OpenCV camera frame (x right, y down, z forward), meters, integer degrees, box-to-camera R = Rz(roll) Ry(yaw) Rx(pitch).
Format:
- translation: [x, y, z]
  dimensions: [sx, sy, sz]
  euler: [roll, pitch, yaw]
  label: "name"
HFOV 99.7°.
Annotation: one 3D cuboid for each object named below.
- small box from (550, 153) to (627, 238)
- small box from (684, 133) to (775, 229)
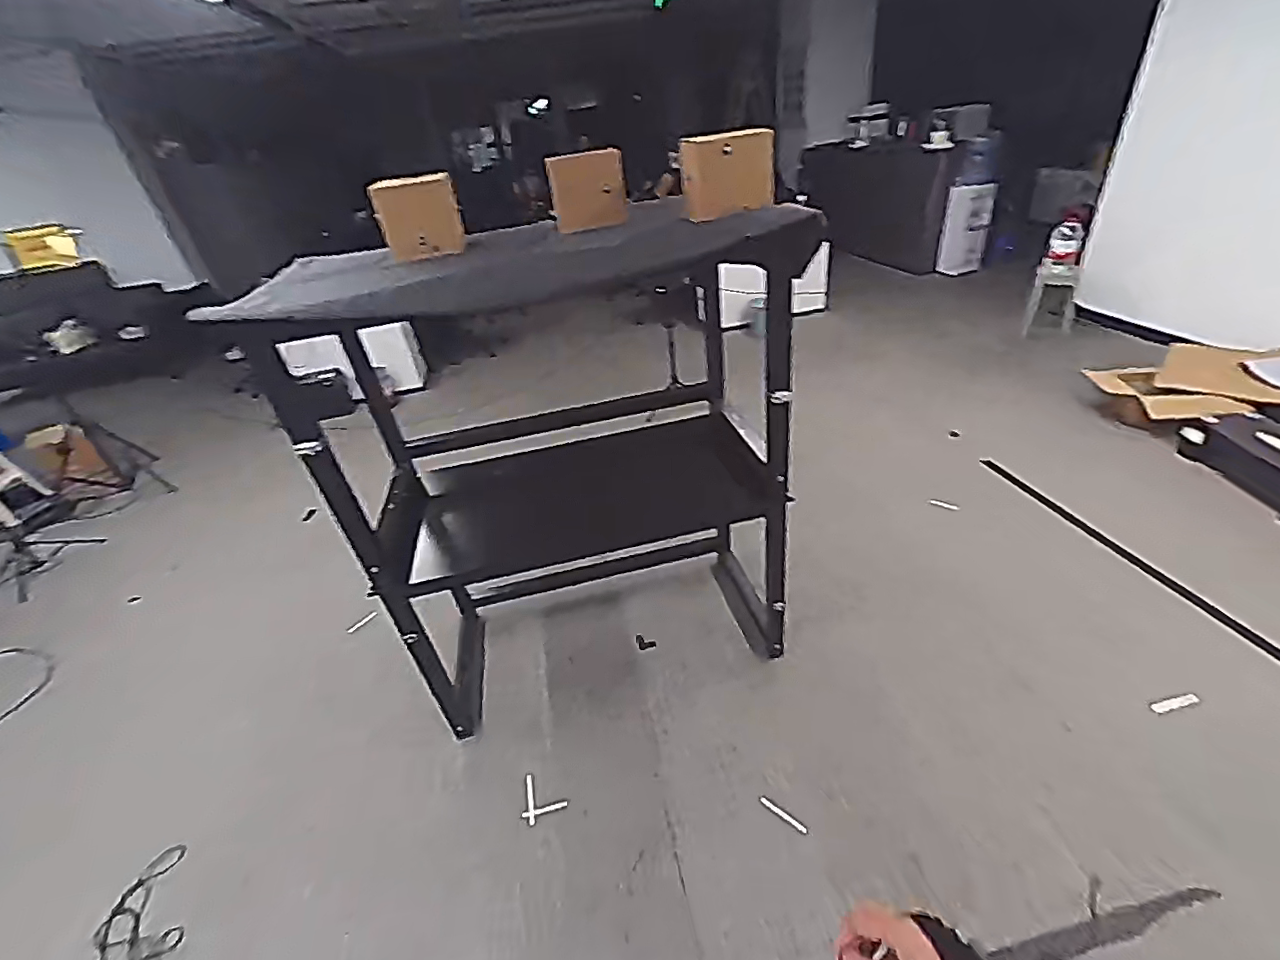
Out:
- translation: [-0.132, -0.743, 1.410]
  dimensions: [0.179, 0.176, 0.168]
  euler: [-11, 32, -5]
  label: "small box"
- translation: [0.201, -0.682, 1.240]
  dimensions: [0.168, 0.176, 0.179]
  euler: [-11, 32, -2]
  label: "small box"
